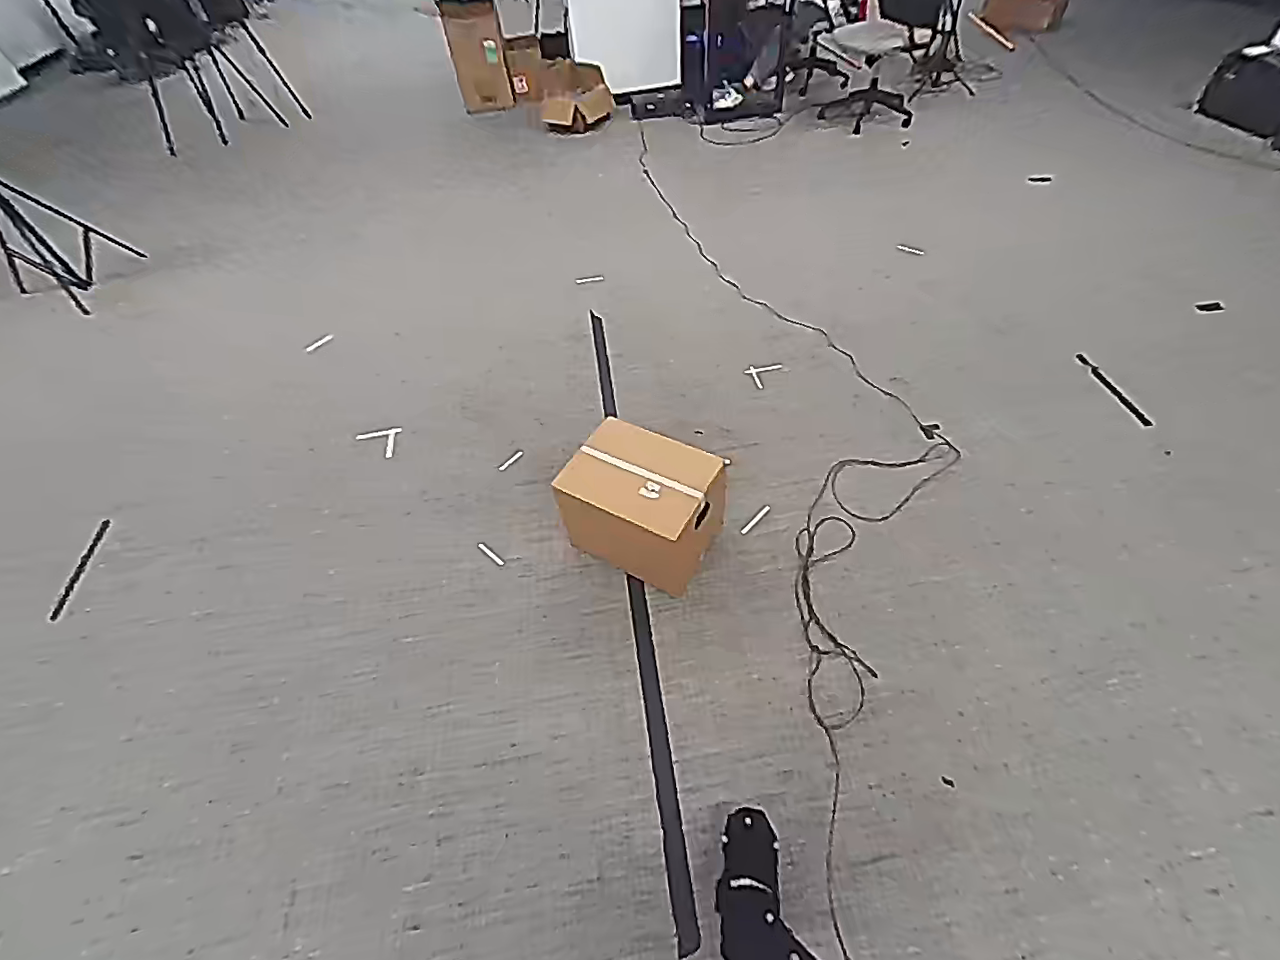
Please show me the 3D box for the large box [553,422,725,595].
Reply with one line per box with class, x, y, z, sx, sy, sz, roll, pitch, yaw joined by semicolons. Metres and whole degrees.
large box;0.005;0.083;1.645;0.408;0.320;0.320;23;56;21
